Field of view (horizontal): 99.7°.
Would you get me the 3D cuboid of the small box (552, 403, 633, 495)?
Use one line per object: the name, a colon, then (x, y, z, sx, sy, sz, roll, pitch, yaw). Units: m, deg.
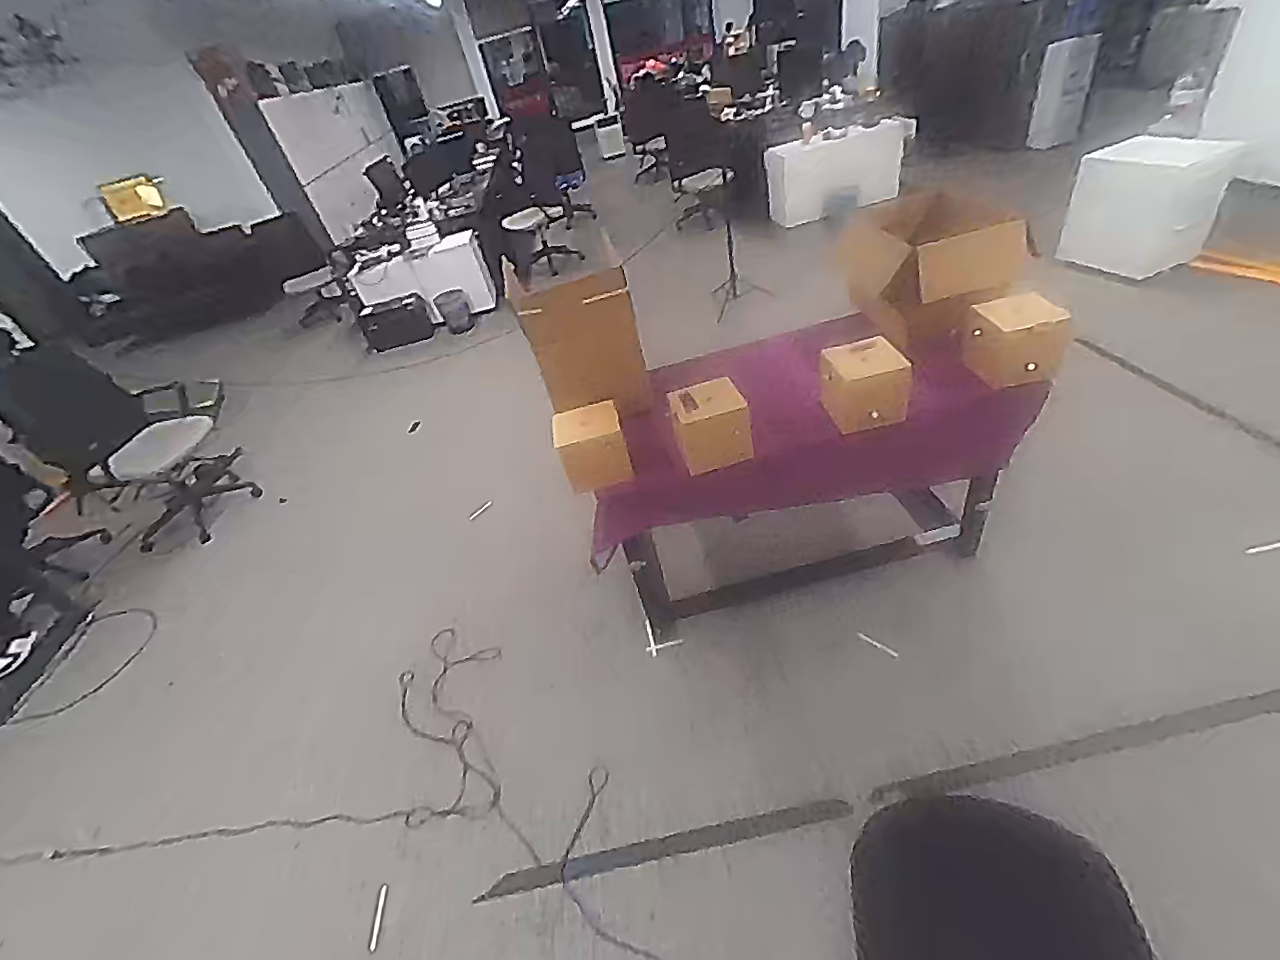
small box: (-0.131, -0.082, 1.476, 0.179, 0.176, 0.168, -15, 39, -1)

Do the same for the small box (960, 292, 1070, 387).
small box: (0.982, -0.372, 1.437, 0.168, 0.176, 0.179, -12, 39, 6)

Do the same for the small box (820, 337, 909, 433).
small box: (0.585, -0.251, 1.432, 0.168, 0.176, 0.179, -14, 40, 4)
